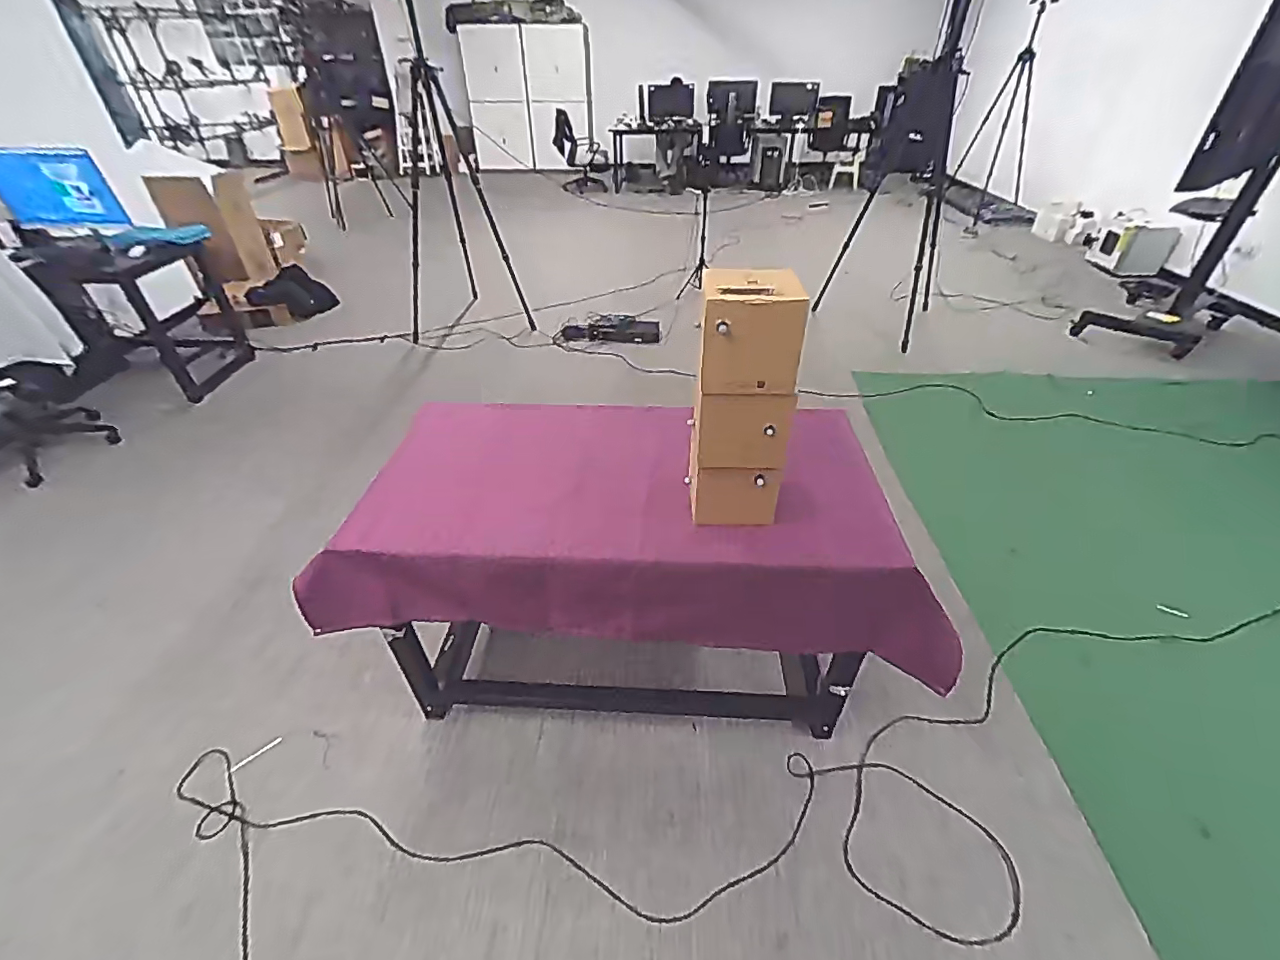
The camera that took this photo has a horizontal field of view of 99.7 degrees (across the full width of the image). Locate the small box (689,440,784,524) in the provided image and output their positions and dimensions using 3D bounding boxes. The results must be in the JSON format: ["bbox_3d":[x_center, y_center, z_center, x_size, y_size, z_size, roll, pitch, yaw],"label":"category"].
[{"bbox_3d":[0.205,-0.015,1.197,0.179,0.176,0.168,0,37,1],"label":"small box"}]

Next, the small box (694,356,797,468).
[{"bbox_3d":[0.201,-0.135,1.085,0.179,0.176,0.168,1,36,3],"label":"small box"}]
